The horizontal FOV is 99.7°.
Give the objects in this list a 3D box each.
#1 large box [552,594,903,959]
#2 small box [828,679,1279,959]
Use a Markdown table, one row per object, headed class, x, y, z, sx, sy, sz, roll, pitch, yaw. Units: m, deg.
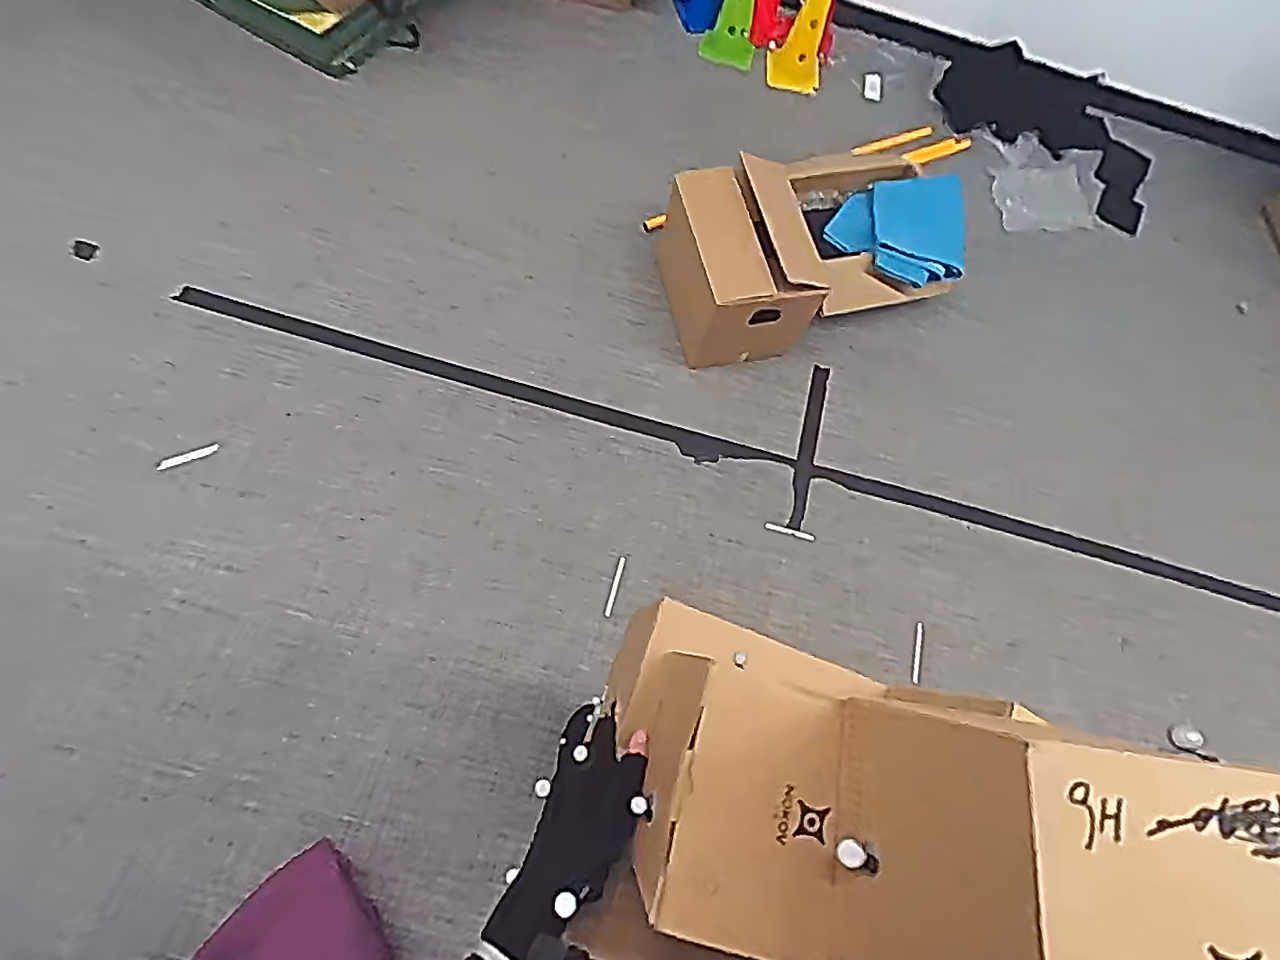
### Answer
| class | x | y | z | sx | sy | sz | roll | pitch | yaw |
| --- | --- | --- | --- | --- | --- | --- | --- | --- | --- |
| large box | 0.133 | 0.363 | 0.666 | 0.408 | 0.320 | 0.320 | 21 | 73 | -1 |
| small box | 0.216 | 0.217 | 0.292 | 0.168 | 0.176 | 0.179 | 10 | 74 | -4 |
